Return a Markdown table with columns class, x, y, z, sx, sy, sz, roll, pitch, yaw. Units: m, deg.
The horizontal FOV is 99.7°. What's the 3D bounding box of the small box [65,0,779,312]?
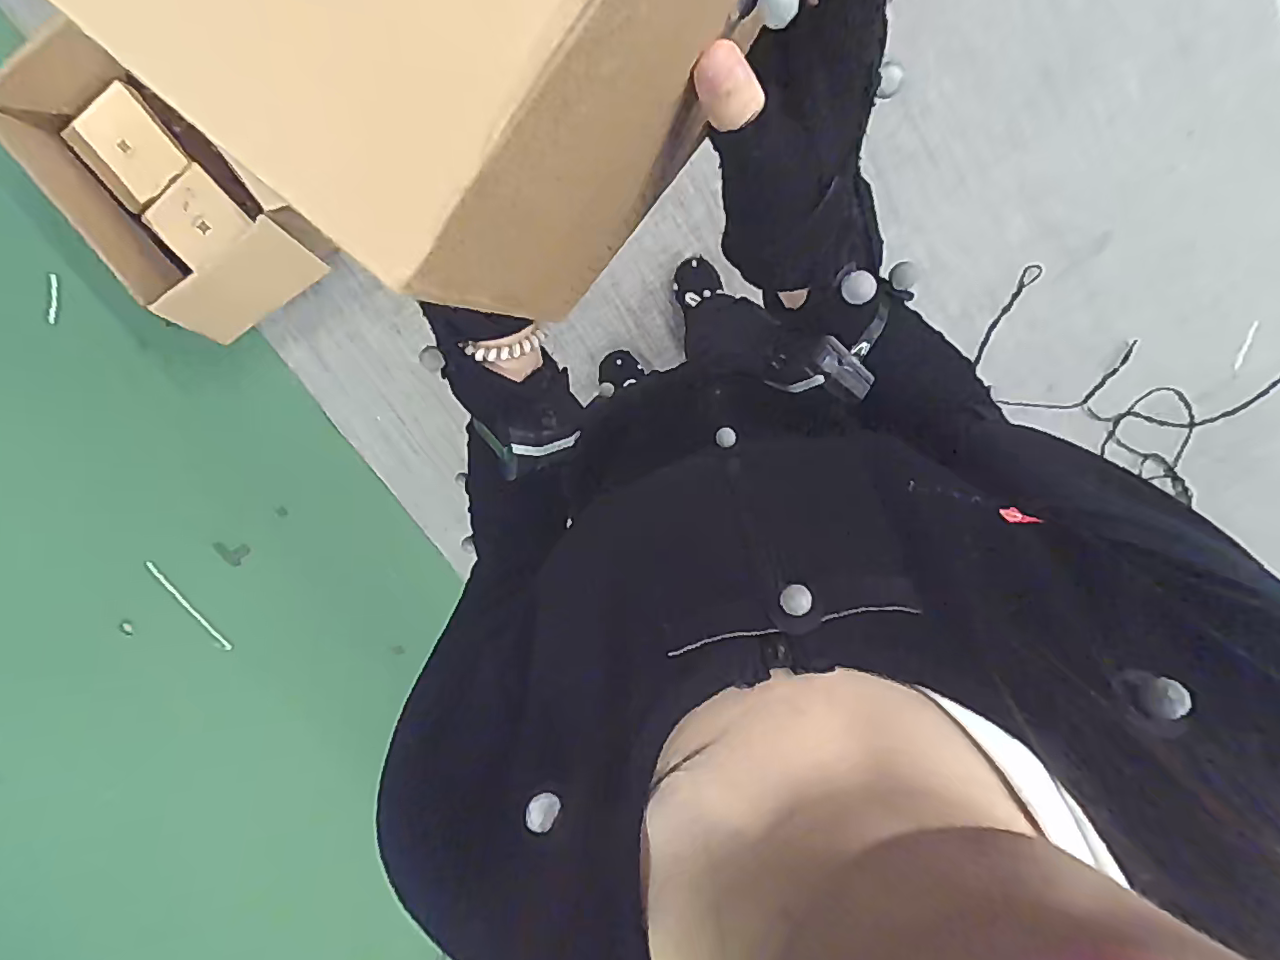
| class | x | y | z | sx | sy | sz | roll | pitch | yaw |
| --- | --- | --- | --- | --- | --- | --- | --- | --- | --- |
| small box | -0.057 | -0.181 | 0.184 | 0.168 | 0.176 | 0.179 | 41 | 104 | -4 |
